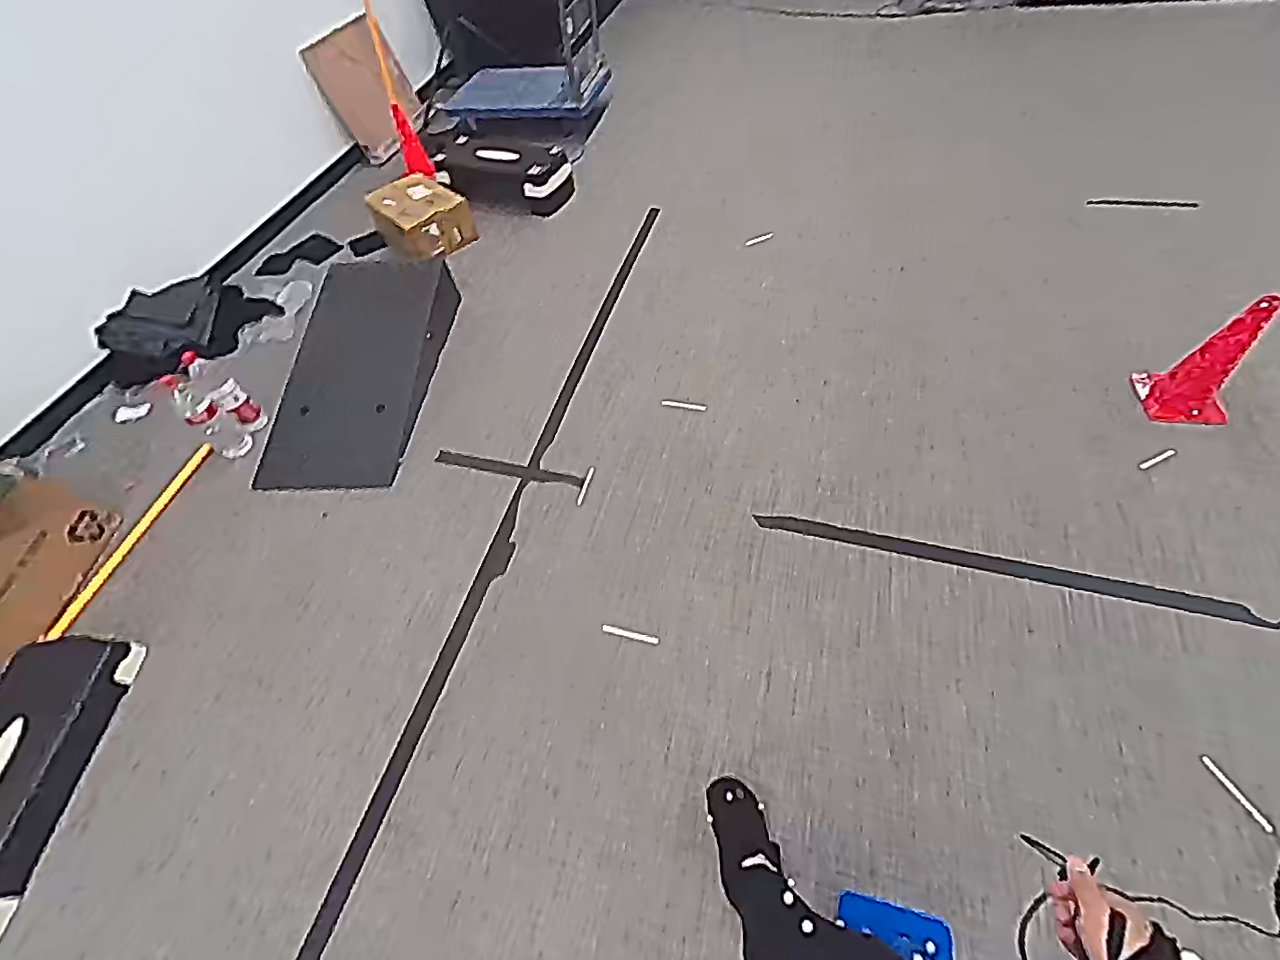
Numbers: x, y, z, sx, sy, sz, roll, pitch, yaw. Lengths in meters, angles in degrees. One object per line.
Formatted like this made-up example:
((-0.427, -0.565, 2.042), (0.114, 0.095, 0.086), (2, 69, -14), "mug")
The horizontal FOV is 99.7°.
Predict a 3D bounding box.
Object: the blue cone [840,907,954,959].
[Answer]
((0.433, 0.789, 0.814), (0.193, 0.380, 0.192), (10, 57, 15), "blue cone")

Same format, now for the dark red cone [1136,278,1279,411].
((1.586, -0.372, 1.463), (0.202, 0.394, 0.201), (3, 56, 10), "dark red cone")
